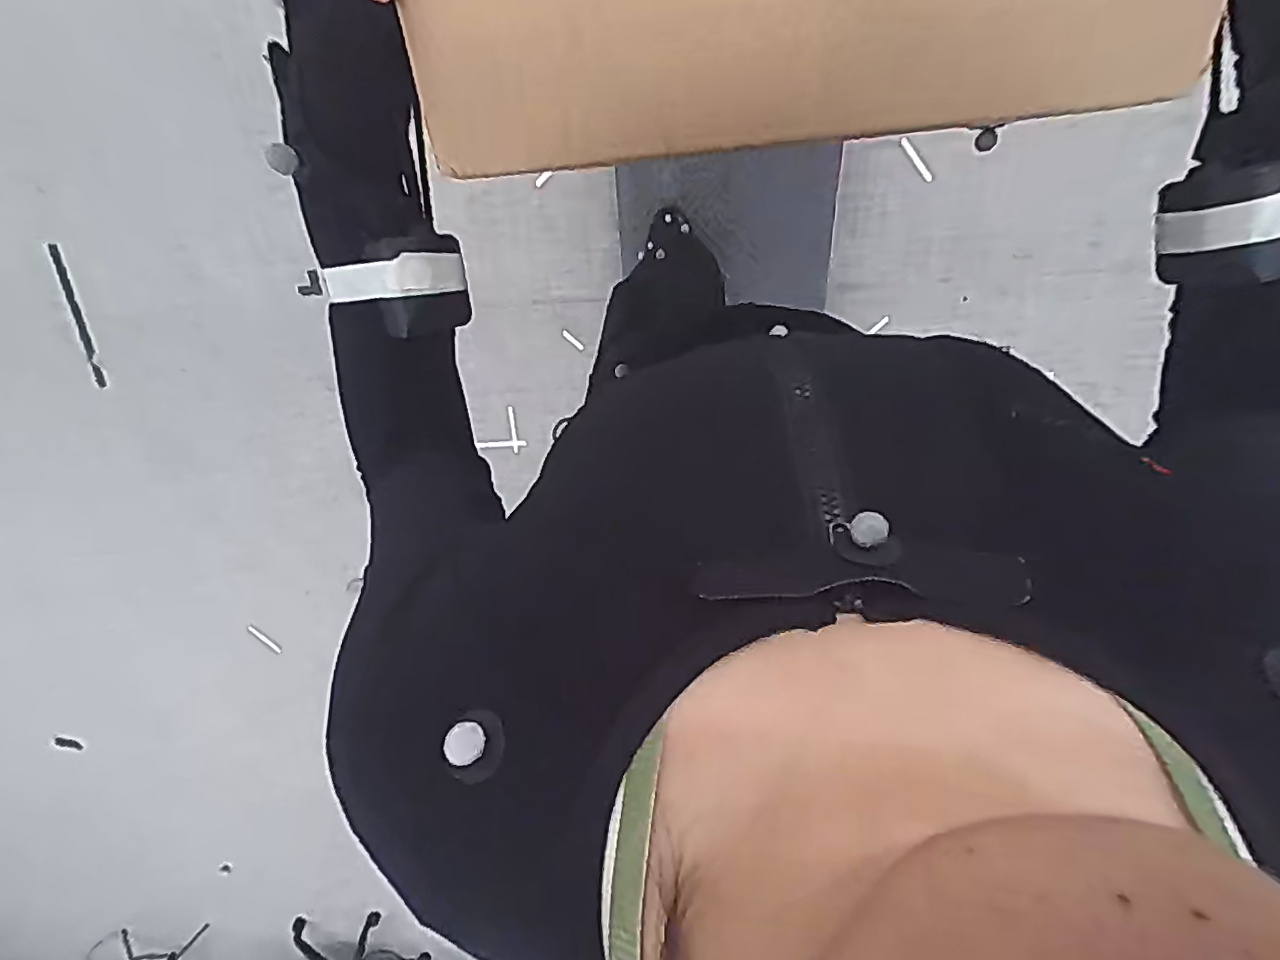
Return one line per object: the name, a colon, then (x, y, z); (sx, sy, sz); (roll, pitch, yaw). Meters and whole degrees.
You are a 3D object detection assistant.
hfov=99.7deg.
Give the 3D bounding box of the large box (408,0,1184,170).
large box: (0.074, -0.407, 0.353); (0.408, 0.320, 0.320); (-3, 121, 4)
